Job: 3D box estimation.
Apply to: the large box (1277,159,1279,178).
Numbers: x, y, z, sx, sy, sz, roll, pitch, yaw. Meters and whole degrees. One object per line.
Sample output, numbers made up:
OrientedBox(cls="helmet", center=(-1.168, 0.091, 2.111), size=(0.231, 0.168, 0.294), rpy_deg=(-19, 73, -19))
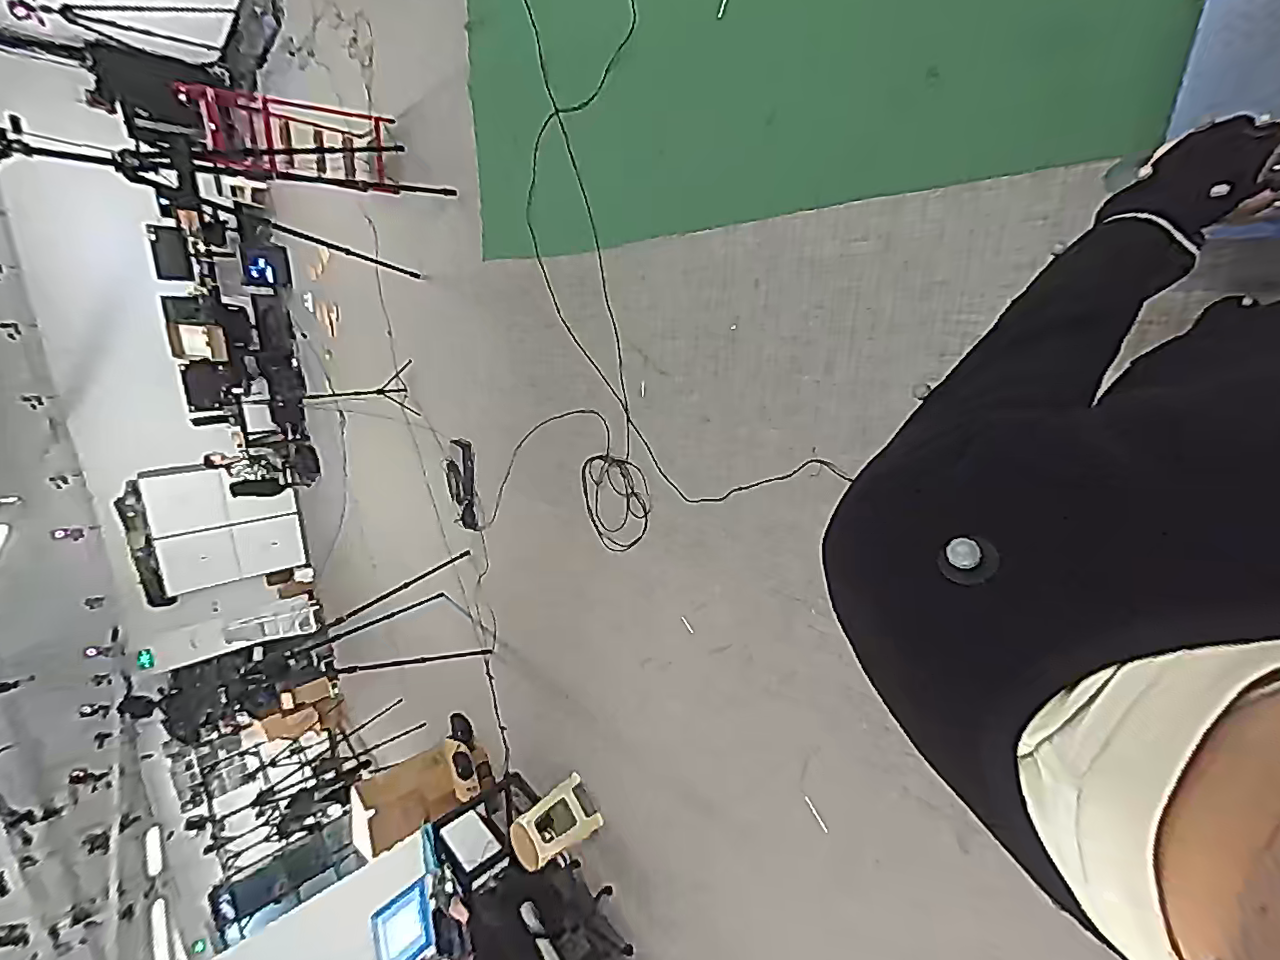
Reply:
OrientedBox(cls="large box", center=(1.082, -0.642, 0.667), size=(0.320, 0.320, 0.408), rpy_deg=(19, 113, 44))
